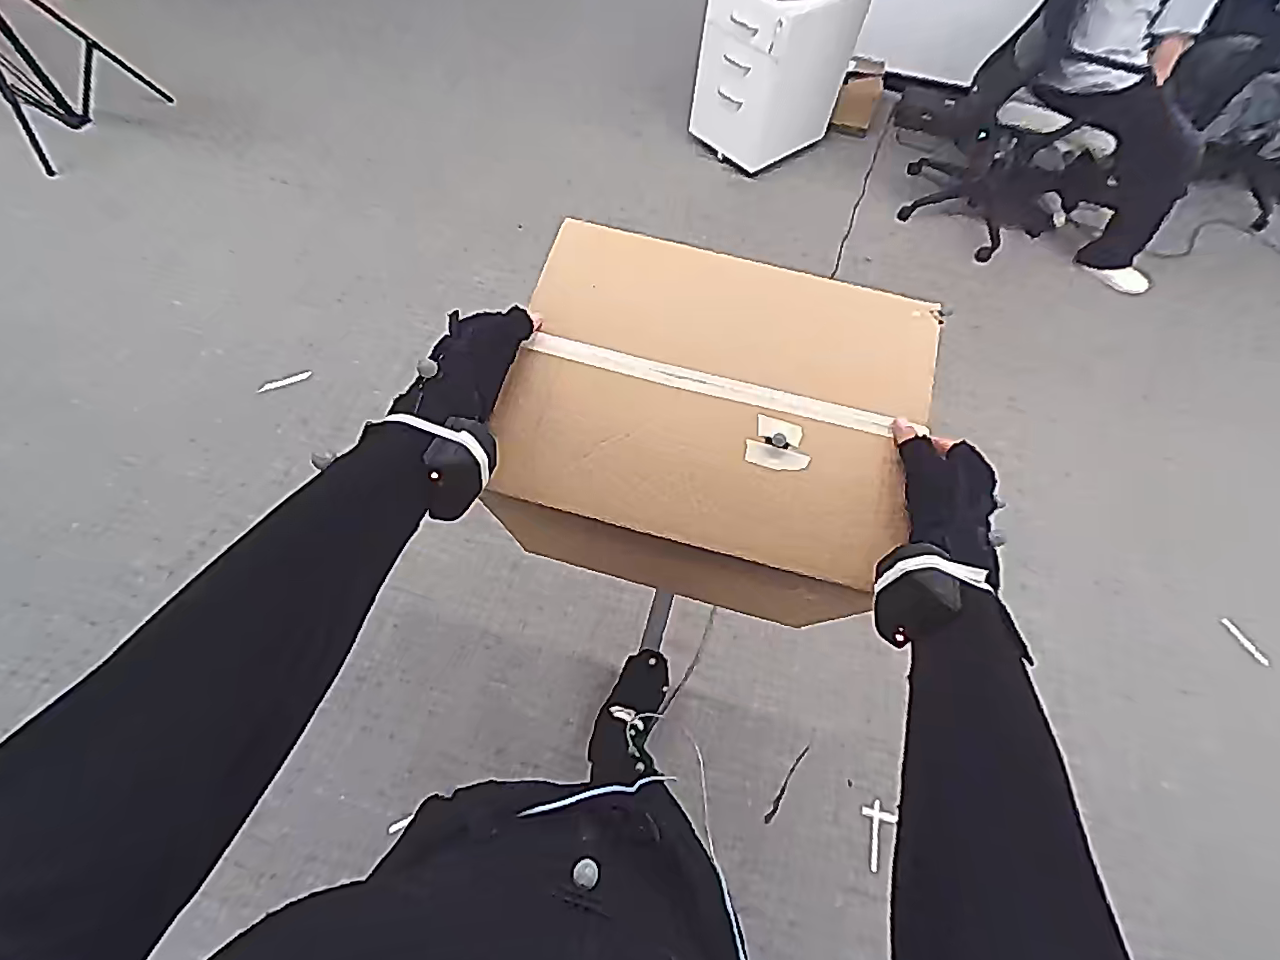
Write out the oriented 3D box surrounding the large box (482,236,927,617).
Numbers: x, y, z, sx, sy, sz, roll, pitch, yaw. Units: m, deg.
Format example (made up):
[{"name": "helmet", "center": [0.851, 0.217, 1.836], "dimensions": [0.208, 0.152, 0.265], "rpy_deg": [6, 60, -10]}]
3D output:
[{"name": "large box", "center": [0.073, -0.039, 0.681], "dimensions": [0.408, 0.320, 0.320], "rpy_deg": [15, 72, 4]}]
